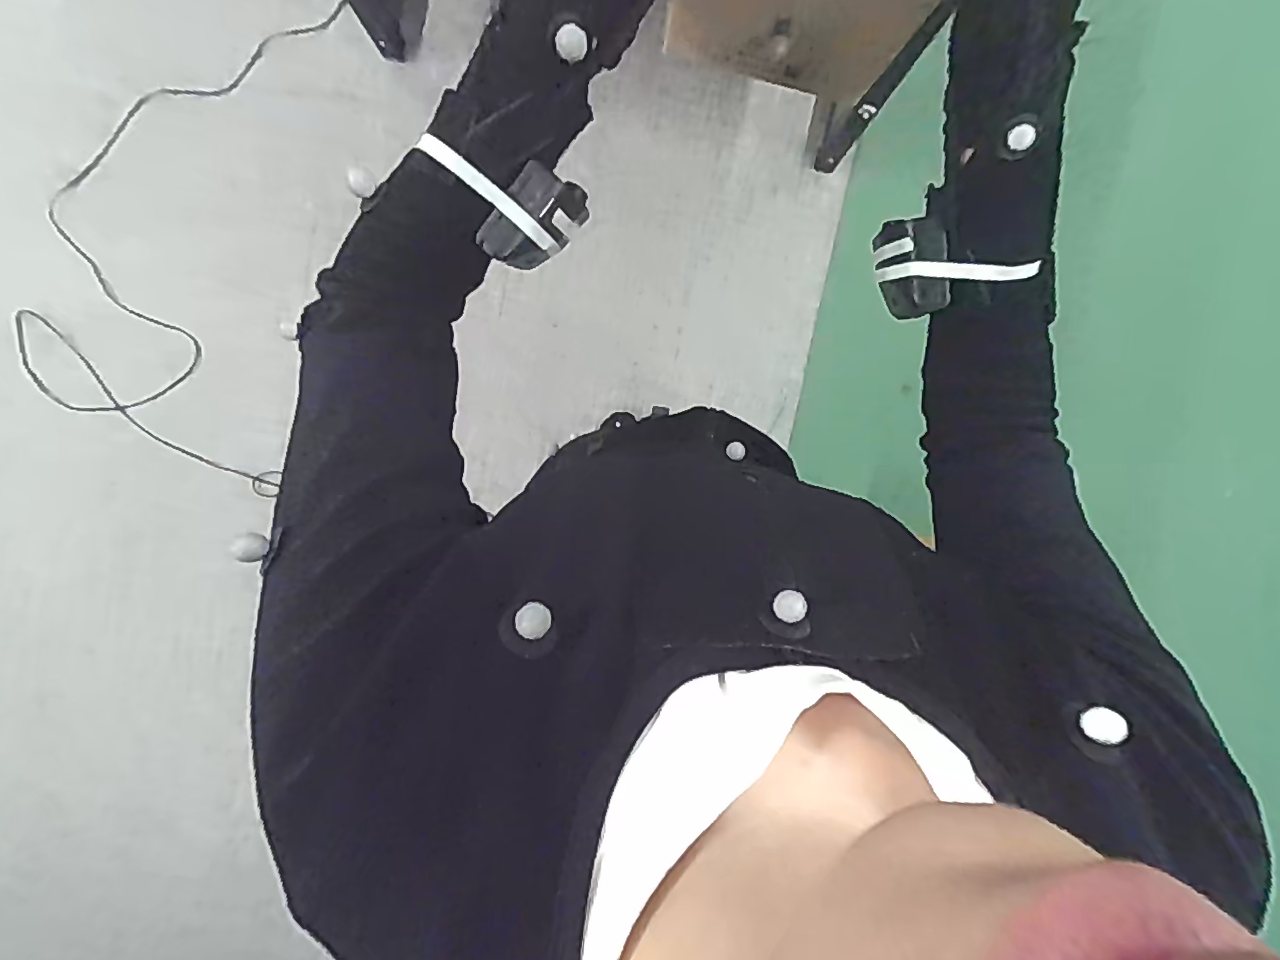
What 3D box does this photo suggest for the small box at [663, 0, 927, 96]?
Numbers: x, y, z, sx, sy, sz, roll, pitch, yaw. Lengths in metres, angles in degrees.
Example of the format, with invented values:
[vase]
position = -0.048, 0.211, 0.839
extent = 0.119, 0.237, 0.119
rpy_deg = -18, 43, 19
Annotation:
[small box]
position = 0.116, -0.401, 0.346
extent = 0.168, 0.176, 0.179
rpy_deg = 11, 96, -6
